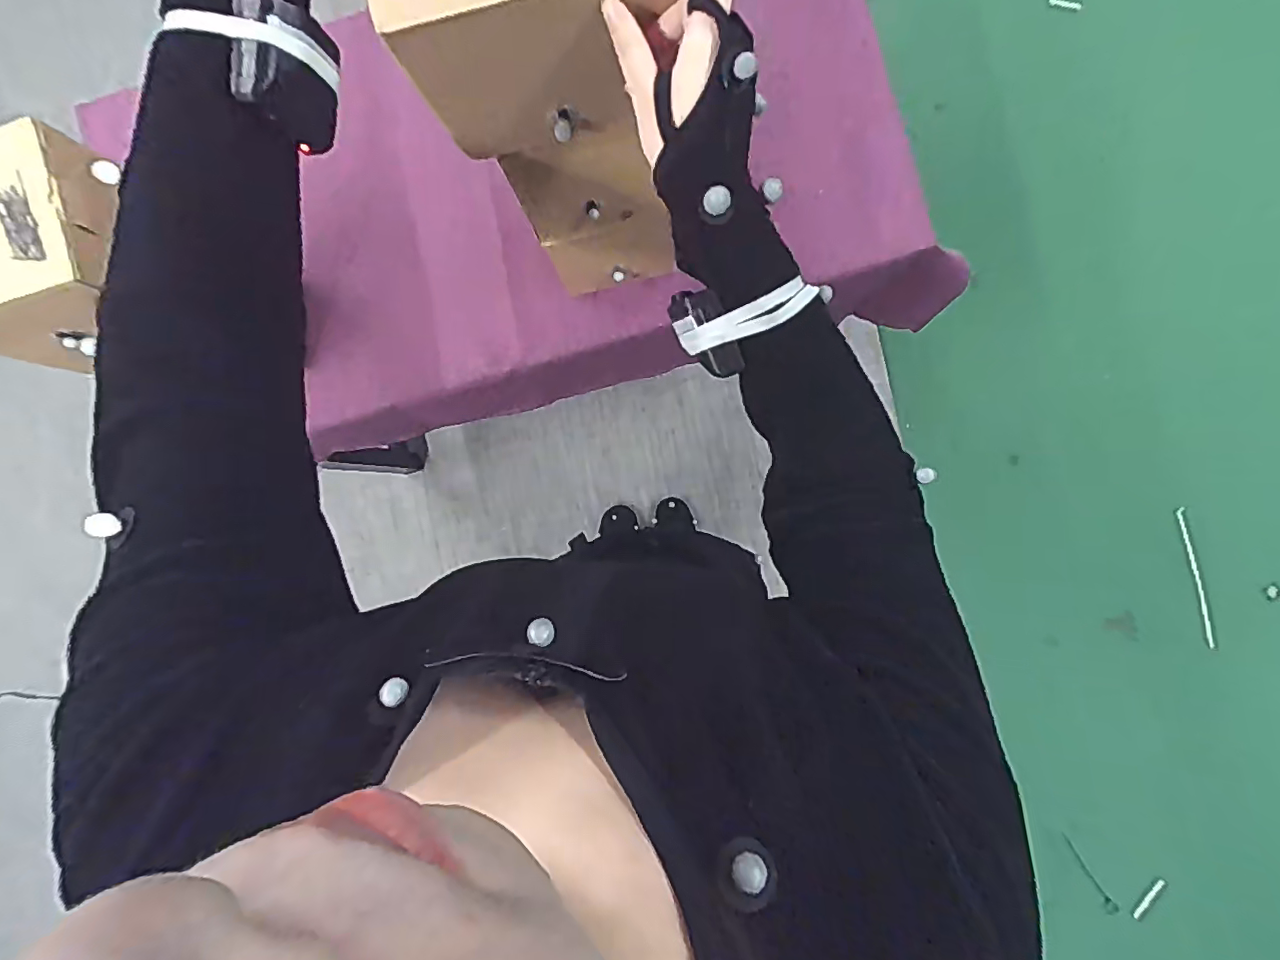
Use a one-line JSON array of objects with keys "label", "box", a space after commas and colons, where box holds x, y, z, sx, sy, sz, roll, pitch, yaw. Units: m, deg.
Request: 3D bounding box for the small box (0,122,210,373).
[{"label": "small box", "box": [-0.613, -0.230, 0.582, 0.179, 0.176, 0.168, -17, 88, 3]}]

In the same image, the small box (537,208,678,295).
[{"label": "small box", "box": [-0.048, -0.373, 0.715, 0.168, 0.176, 0.179, -12, 88, 4]}]

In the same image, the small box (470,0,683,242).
[{"label": "small box", "box": [-0.055, -0.377, 0.552, 0.168, 0.176, 0.179, -12, 89, 3]}]
